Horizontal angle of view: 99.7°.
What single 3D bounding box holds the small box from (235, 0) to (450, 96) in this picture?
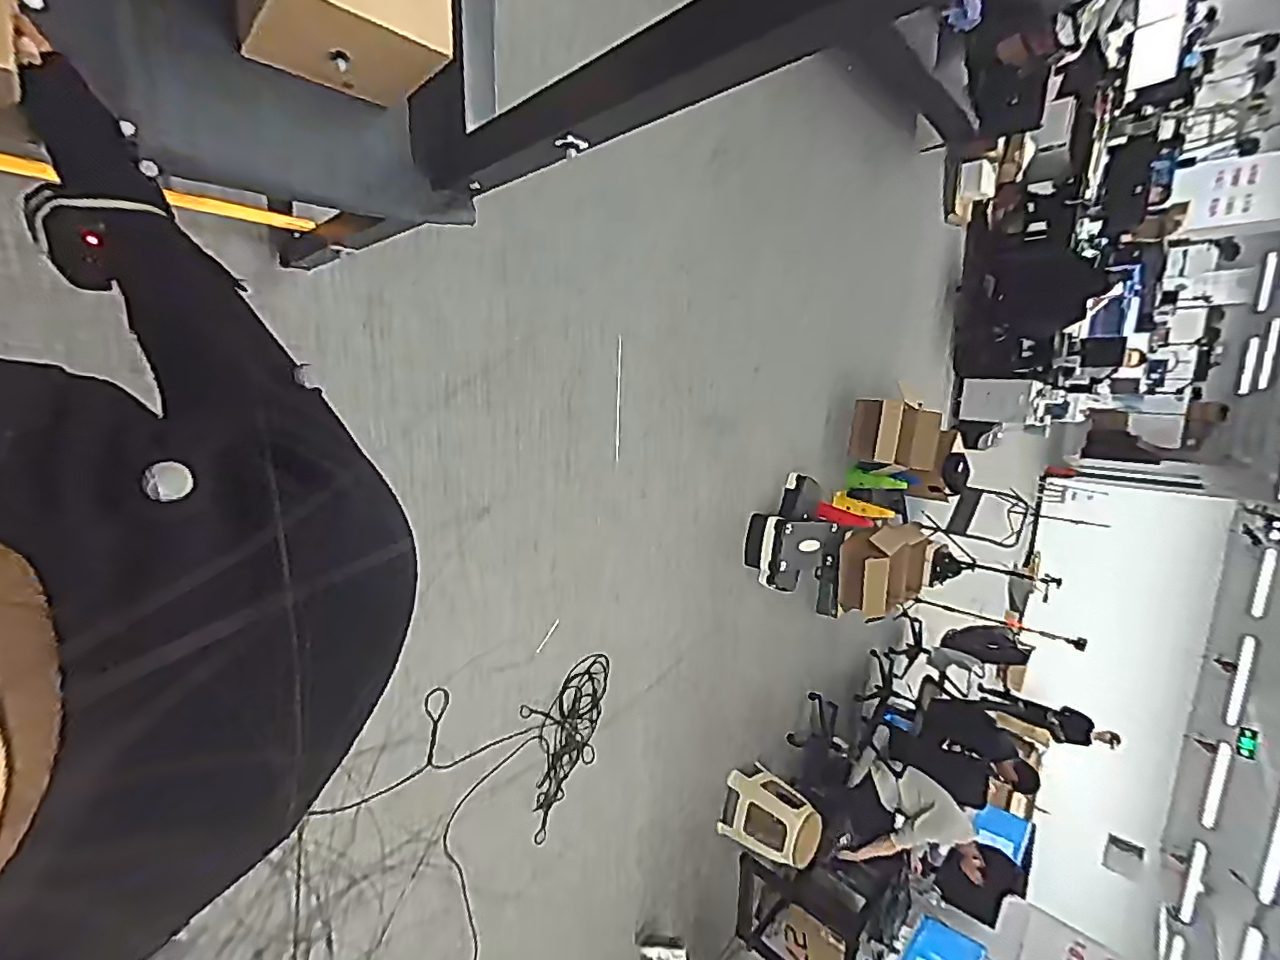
[{"bbox_3d":[-0.320,-0.553,0.575,0.168,0.176,0.179,-10,105,-46],"label":"small box"}]
